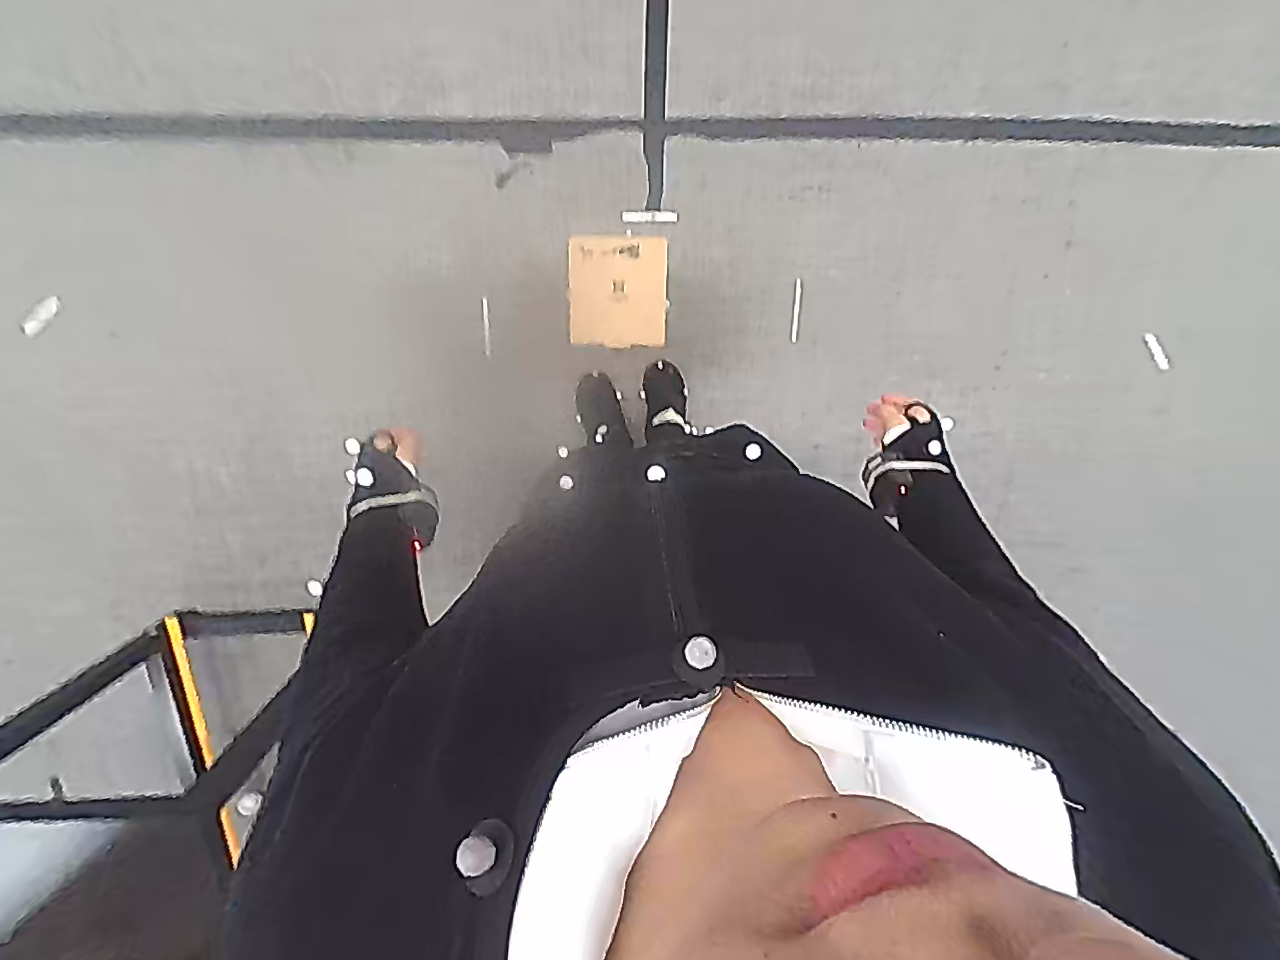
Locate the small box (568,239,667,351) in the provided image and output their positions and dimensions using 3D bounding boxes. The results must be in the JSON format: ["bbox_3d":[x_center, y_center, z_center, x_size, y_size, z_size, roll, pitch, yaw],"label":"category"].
[{"bbox_3d":[-0.040,-0.333,0.989,0.168,0.176,0.179,1,106,-2],"label":"small box"}]
